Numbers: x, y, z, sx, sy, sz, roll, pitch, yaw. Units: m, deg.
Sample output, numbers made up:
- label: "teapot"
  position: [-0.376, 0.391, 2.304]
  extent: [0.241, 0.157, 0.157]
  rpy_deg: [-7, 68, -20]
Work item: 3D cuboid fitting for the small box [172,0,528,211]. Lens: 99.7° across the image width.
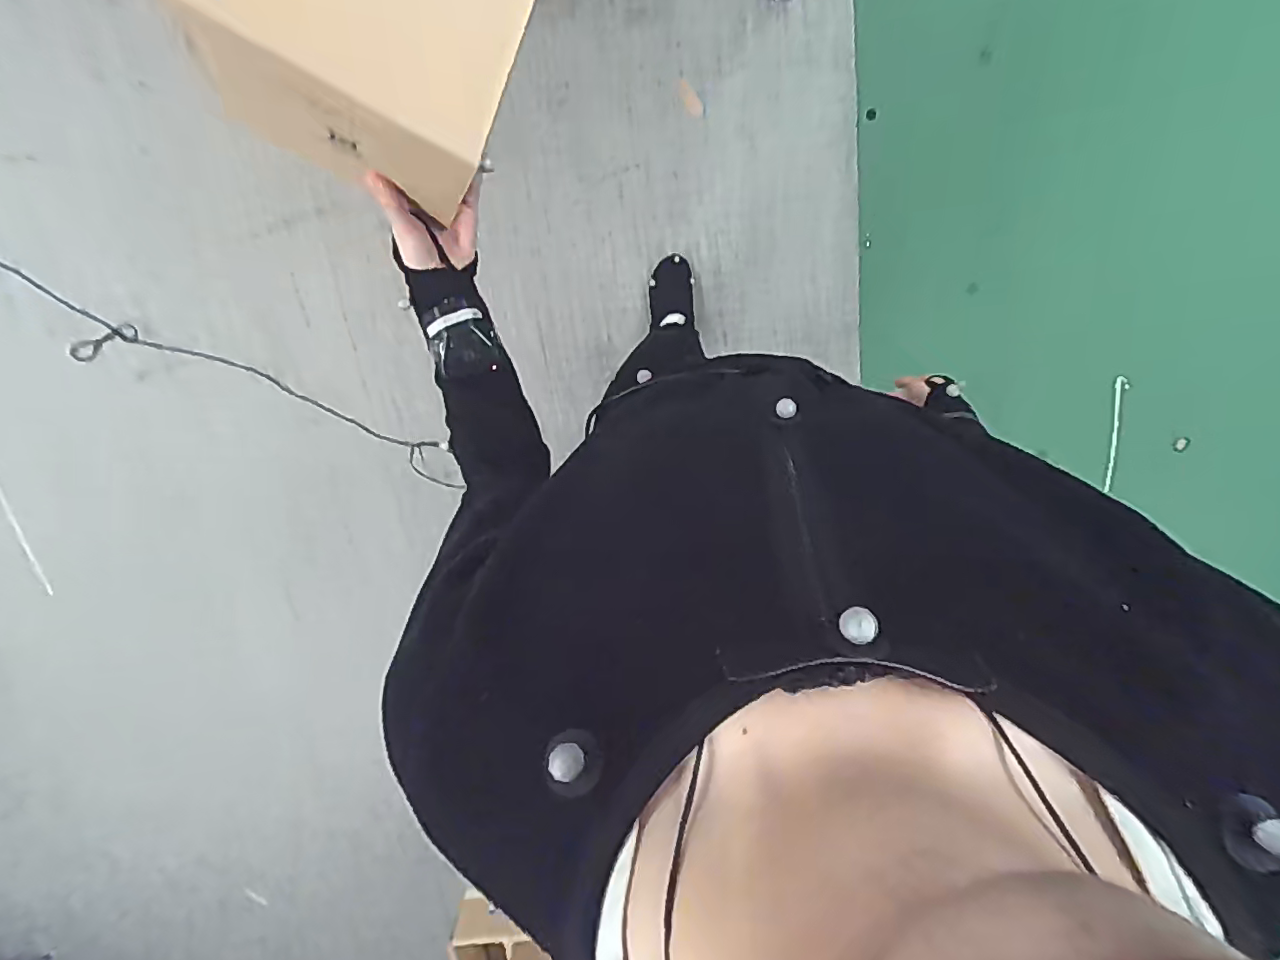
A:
- label: "small box"
  position: [-0.177, -0.323, 0.363]
  extent: [0.168, 0.179, 0.176]
  rpy_deg: [20, 90, -29]
